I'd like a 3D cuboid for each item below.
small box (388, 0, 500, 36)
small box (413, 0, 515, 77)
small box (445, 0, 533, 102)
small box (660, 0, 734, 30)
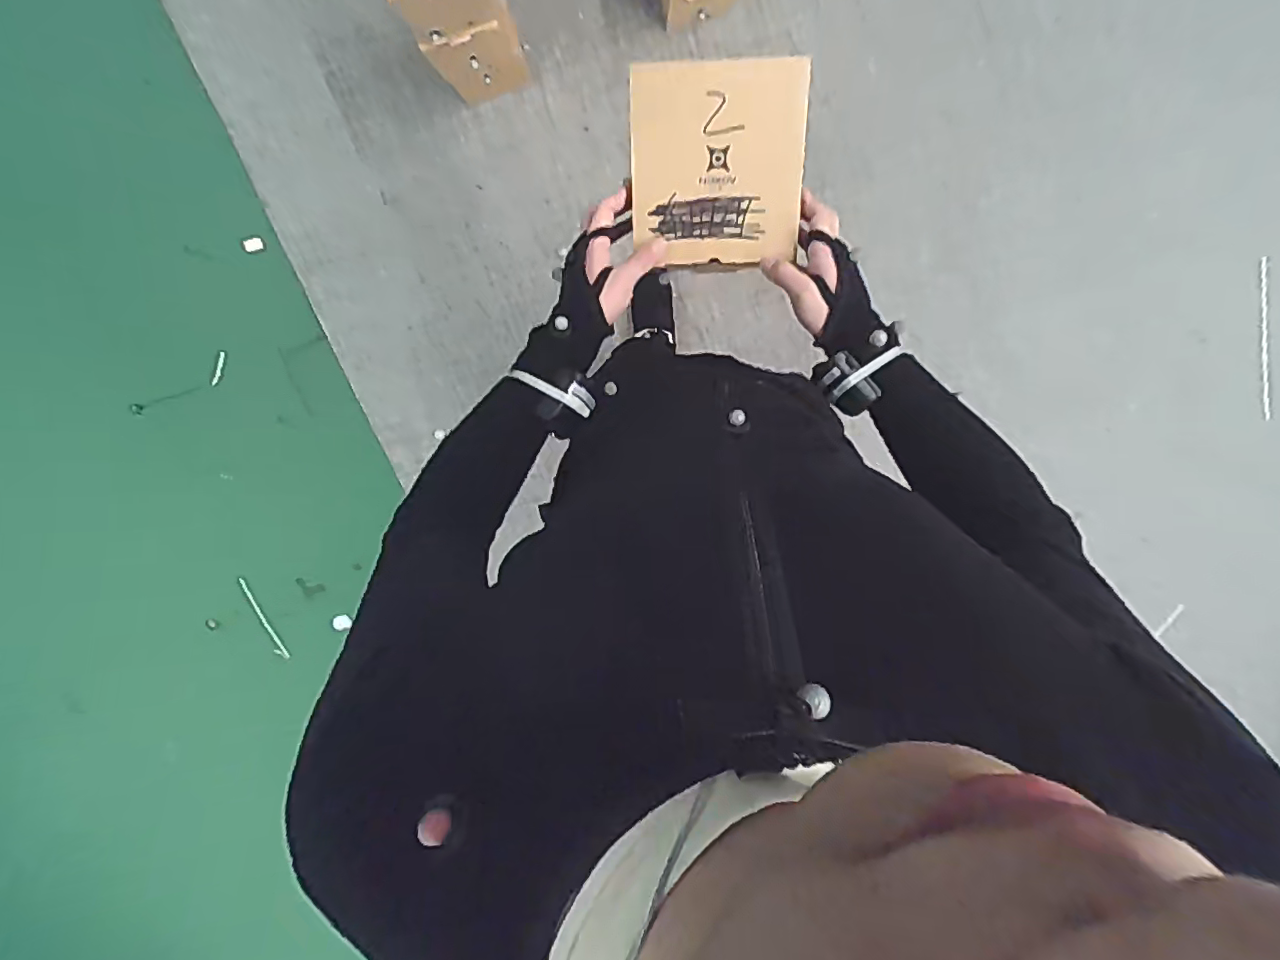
[{"bbox_3d":[-0.362,-0.918,0.939,0.168,0.176,0.179,-15,107,5],"label":"small box"},{"bbox_3d":[-0.369,-0.958,1.099,0.168,0.176,0.179,-14,109,4],"label":"small box"},{"bbox_3d":[-0.365,-1.012,1.253,0.179,0.176,0.168,-13,108,4],"label":"small box"},{"bbox_3d":[0.123,-1.157,1.205,0.168,0.176,0.179,-6,109,4],"label":"small box"}]
